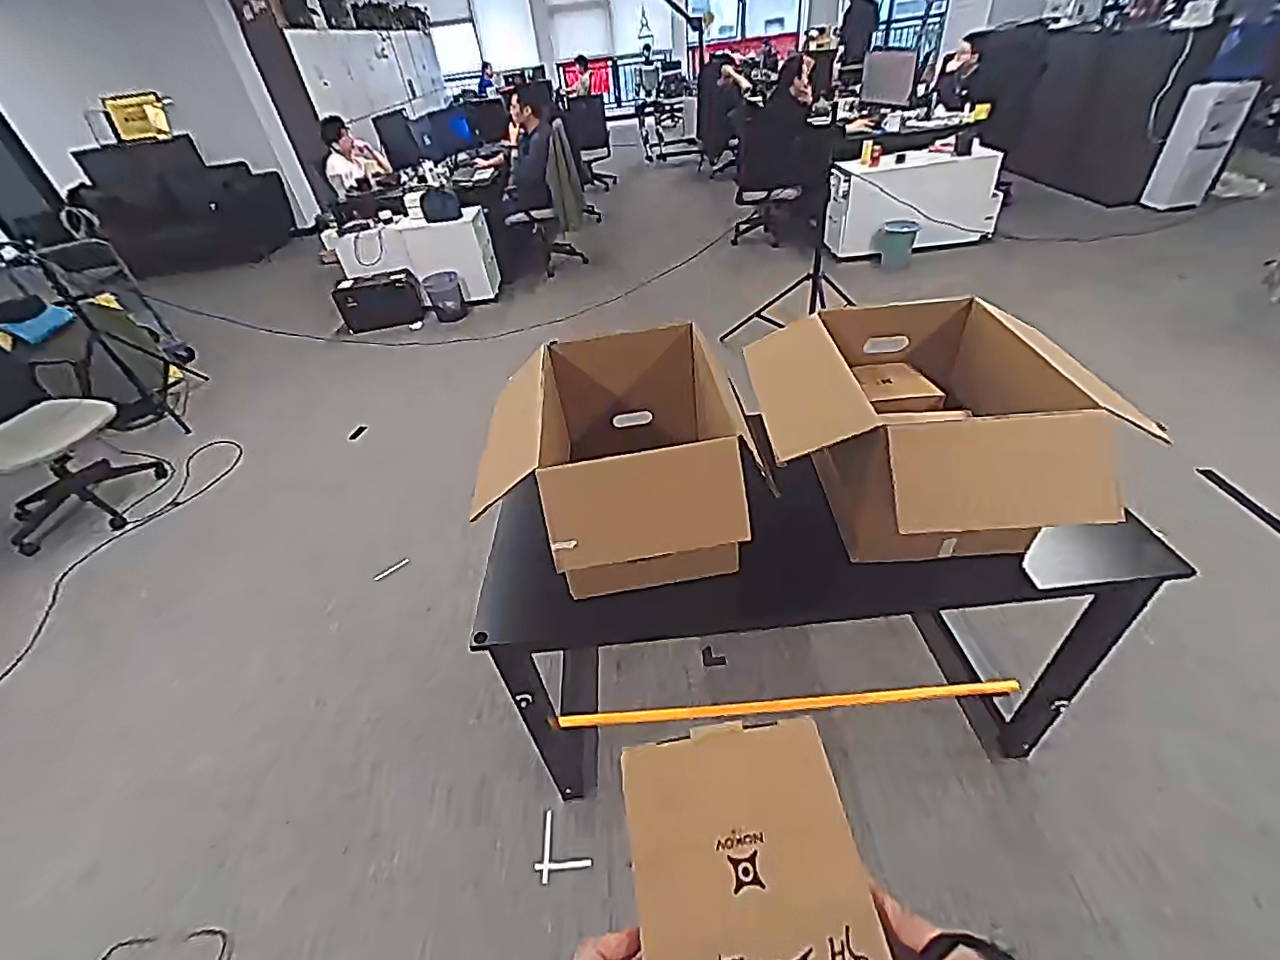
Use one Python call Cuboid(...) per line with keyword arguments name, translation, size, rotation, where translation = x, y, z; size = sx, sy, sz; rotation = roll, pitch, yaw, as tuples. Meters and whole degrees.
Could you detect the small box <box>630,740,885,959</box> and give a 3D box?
Cuboid(name="small box", translation=(0.085, 0.348, 0.464), size=(0.168, 0.176, 0.179), rotation=(-9, 51, -2))
